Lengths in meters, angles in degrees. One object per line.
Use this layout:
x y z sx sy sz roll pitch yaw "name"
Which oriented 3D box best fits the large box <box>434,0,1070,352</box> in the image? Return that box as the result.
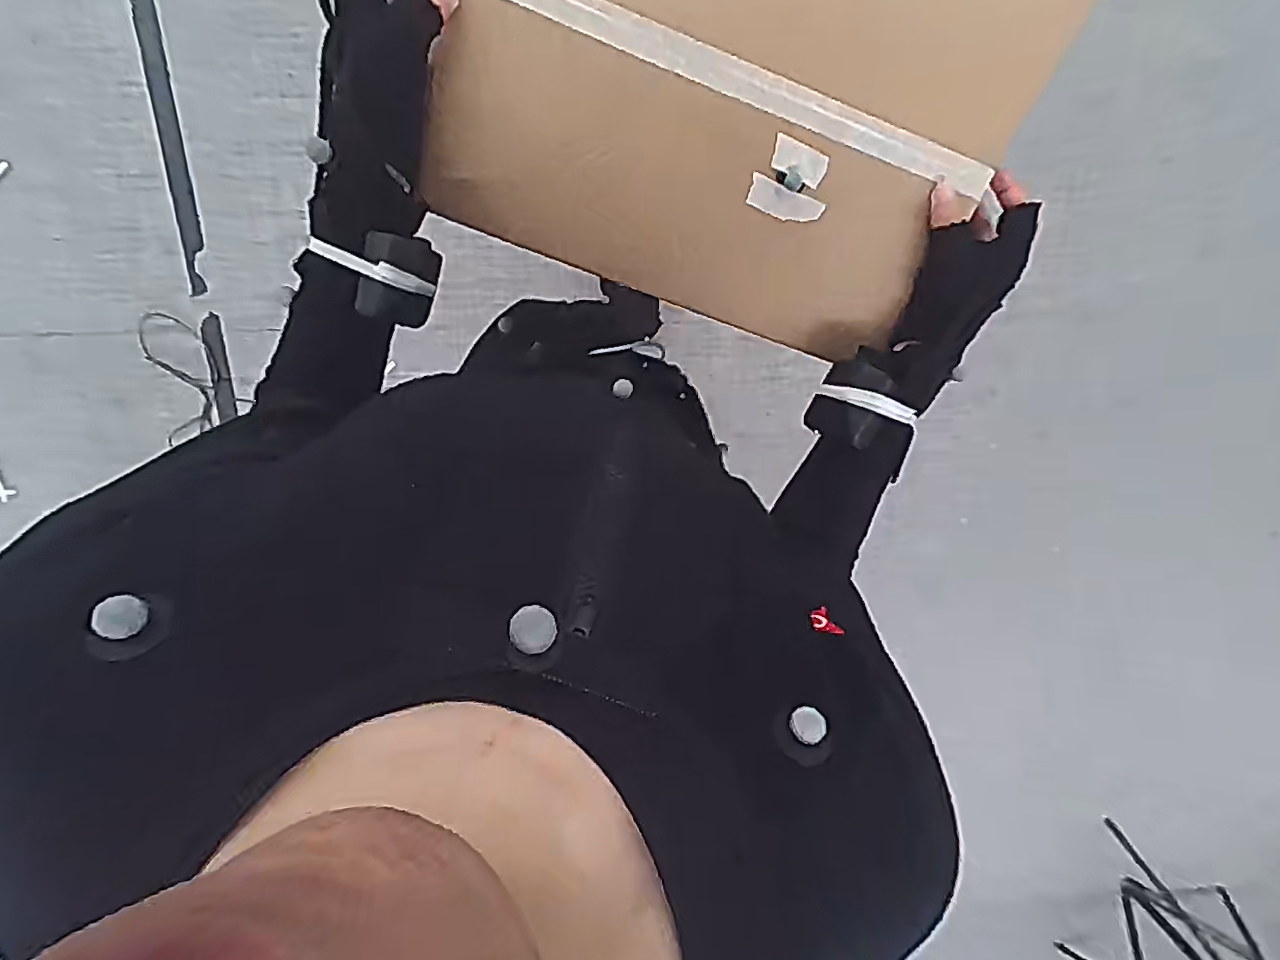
0.070 -0.369 0.517 0.408 0.320 0.320 18 121 -9 "large box"
